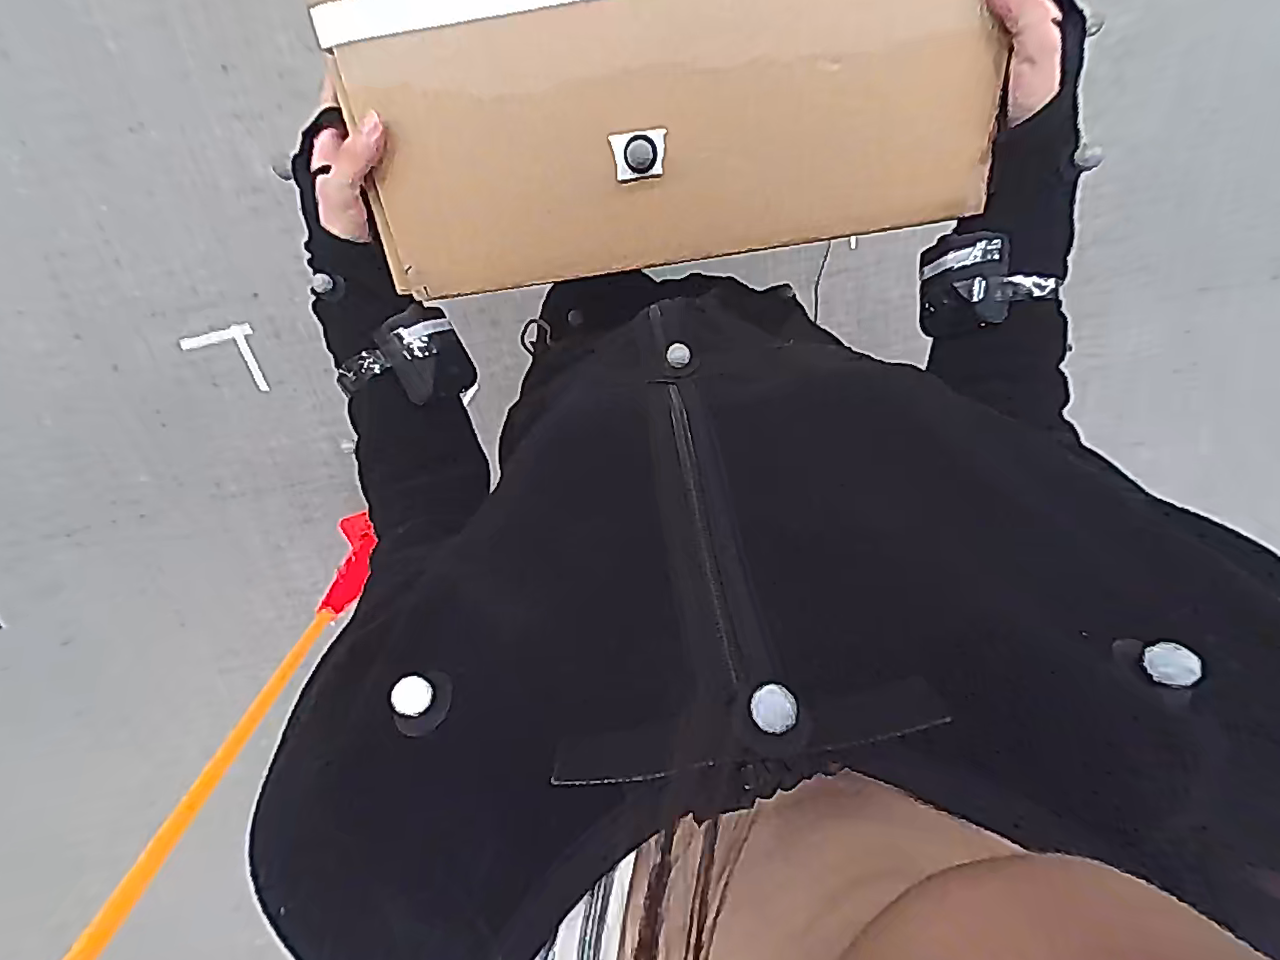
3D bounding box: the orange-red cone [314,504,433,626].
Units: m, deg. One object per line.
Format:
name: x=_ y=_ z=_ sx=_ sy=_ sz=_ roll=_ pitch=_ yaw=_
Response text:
orange-red cone: x=-0.678 y=0.232 z=1.304 sx=0.199 sy=0.360 sz=0.198 roll=-19 pitch=110 yaw=5
